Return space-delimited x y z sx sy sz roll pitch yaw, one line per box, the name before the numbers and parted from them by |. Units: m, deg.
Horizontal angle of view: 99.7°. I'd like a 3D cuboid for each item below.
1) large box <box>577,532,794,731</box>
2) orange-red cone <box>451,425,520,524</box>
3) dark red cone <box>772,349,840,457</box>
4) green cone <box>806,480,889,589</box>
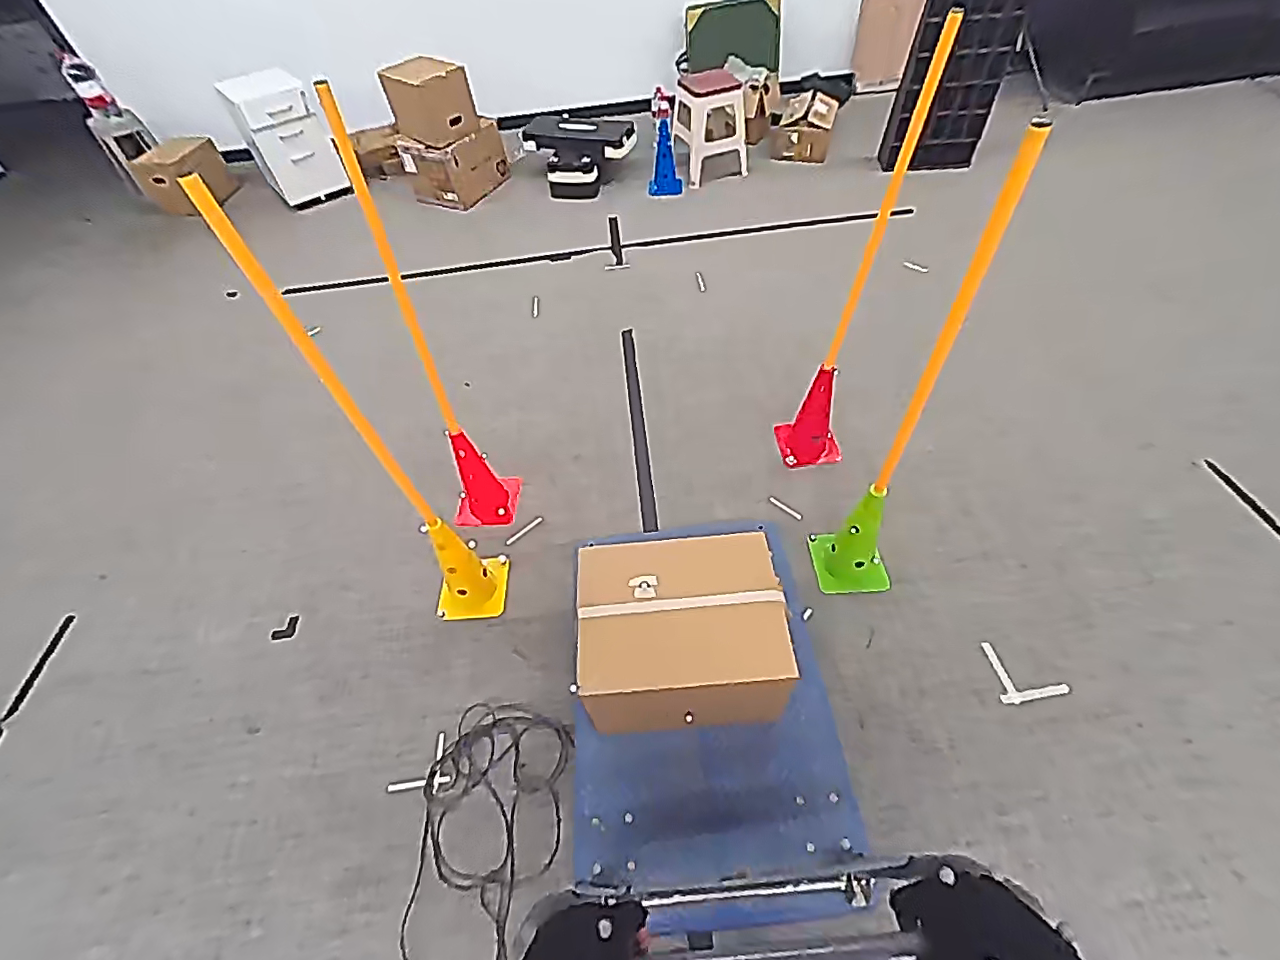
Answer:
large box | 0.087 0.342 1.190 0.408 0.320 0.320 -6 52 2
orange-red cone | -0.534 -0.040 1.733 0.198 0.360 0.199 -1 50 3
dark red cone | 0.577 -0.261 1.782 0.201 0.394 0.202 -6 52 -2
green cone | 0.608 0.129 1.494 0.202 0.368 0.200 -3 52 1
